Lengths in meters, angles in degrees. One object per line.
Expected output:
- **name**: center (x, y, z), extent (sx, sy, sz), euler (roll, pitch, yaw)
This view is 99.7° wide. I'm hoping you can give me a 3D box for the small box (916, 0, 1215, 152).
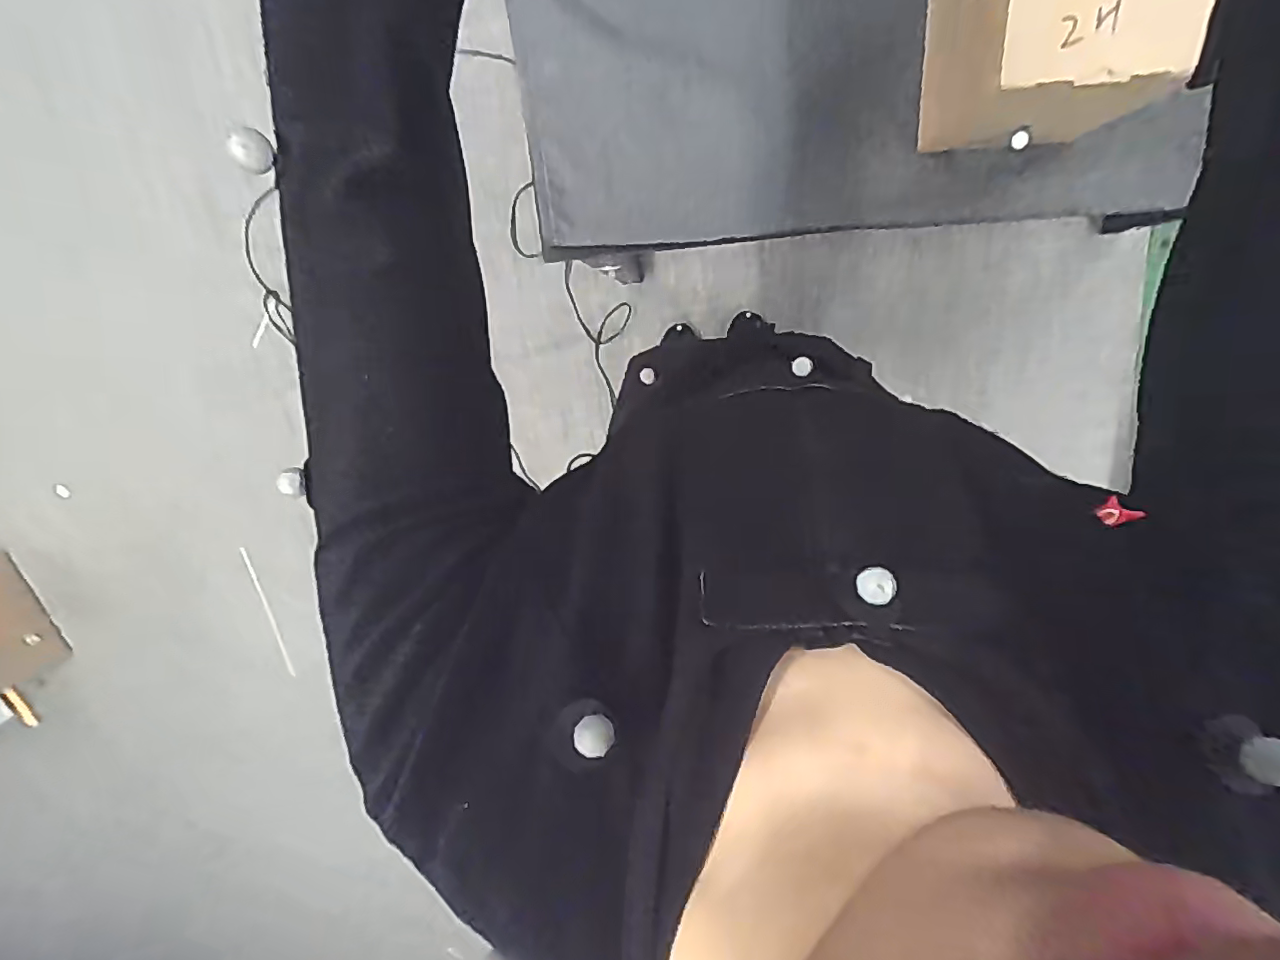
- **small box**: center (0.378, -0.434, 0.504), extent (0.168, 0.176, 0.179), euler (-2, 106, 5)
